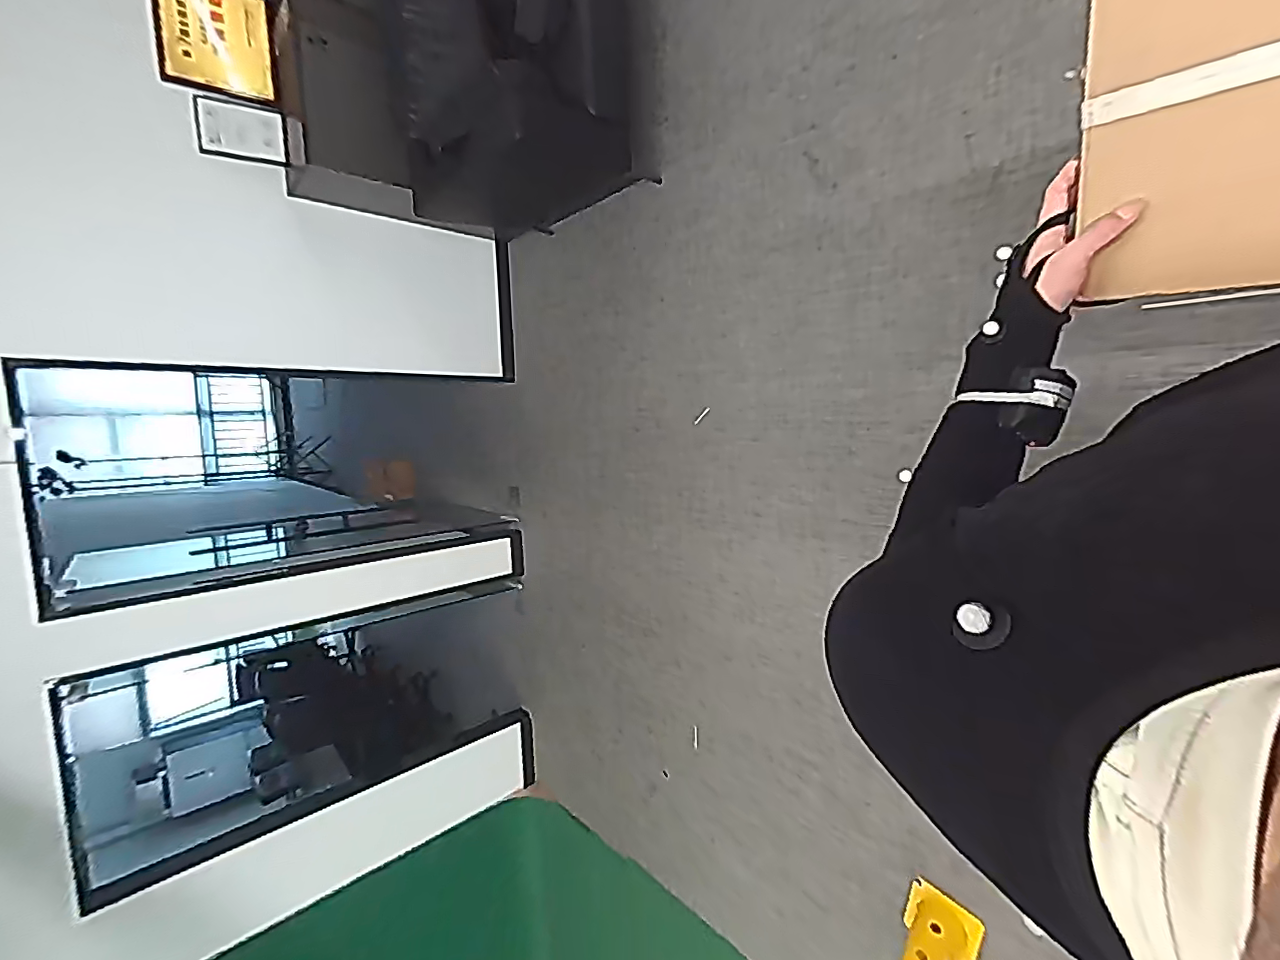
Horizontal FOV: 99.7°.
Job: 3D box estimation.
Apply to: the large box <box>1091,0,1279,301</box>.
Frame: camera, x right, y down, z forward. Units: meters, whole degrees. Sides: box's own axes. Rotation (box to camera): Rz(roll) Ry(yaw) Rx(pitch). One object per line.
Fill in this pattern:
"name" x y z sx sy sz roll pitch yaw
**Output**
"large box" 0.634 -0.341 0.412 0.408 0.320 0.320 9 117 47
